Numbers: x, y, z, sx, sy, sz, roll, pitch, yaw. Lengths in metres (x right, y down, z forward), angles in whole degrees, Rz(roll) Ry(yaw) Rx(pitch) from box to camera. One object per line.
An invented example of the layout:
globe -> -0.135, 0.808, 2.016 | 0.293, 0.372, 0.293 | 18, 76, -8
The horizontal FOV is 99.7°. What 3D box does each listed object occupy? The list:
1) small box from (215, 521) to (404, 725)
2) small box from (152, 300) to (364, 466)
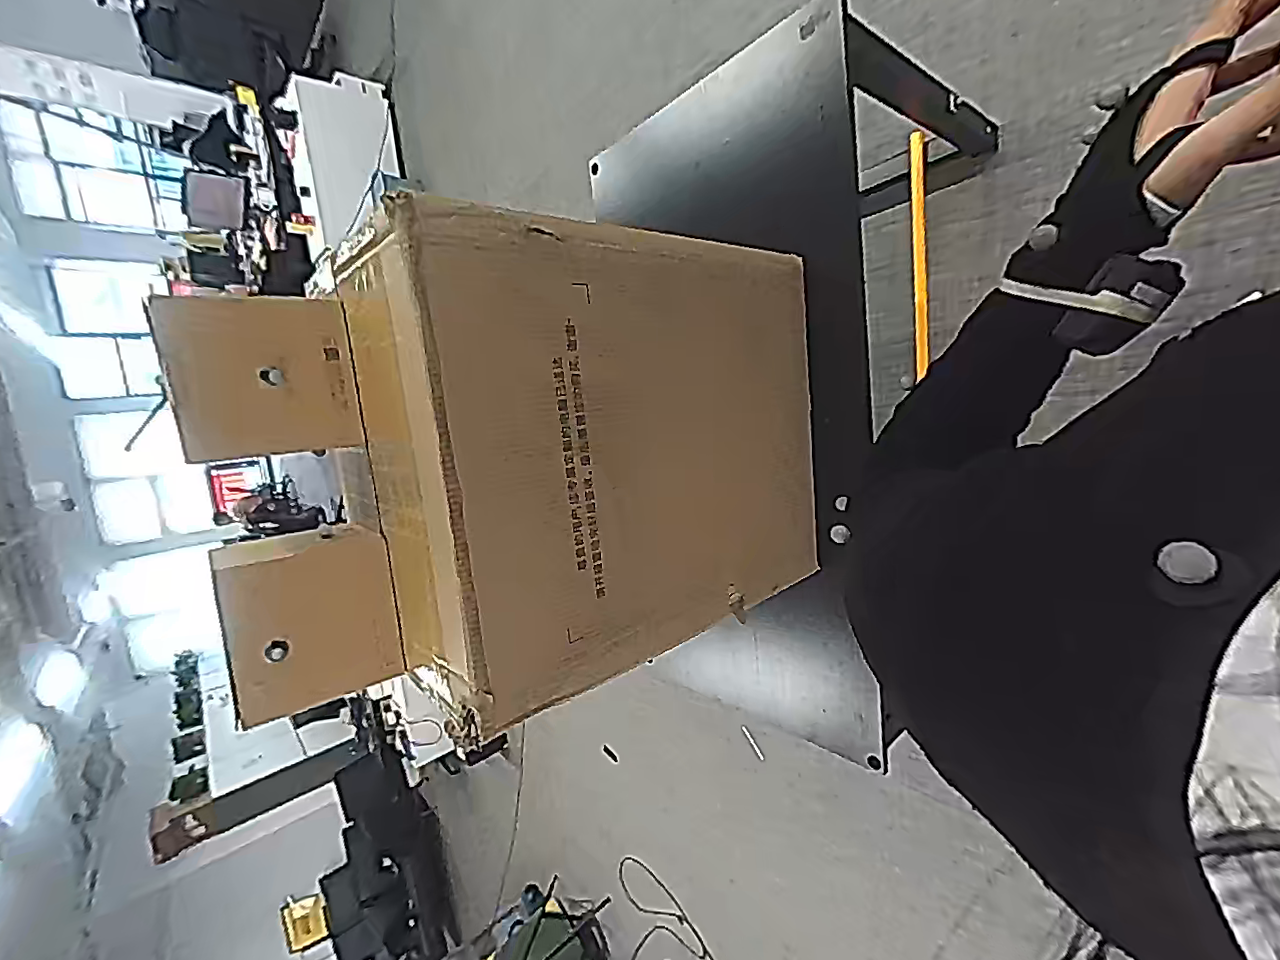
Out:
small box -> -0.404, 0.159, 0.668 | 0.168, 0.176, 0.179 | 4, 101, 51
small box -> -0.438, -0.117, 0.635 | 0.179, 0.176, 0.168 | 10, 108, 50
